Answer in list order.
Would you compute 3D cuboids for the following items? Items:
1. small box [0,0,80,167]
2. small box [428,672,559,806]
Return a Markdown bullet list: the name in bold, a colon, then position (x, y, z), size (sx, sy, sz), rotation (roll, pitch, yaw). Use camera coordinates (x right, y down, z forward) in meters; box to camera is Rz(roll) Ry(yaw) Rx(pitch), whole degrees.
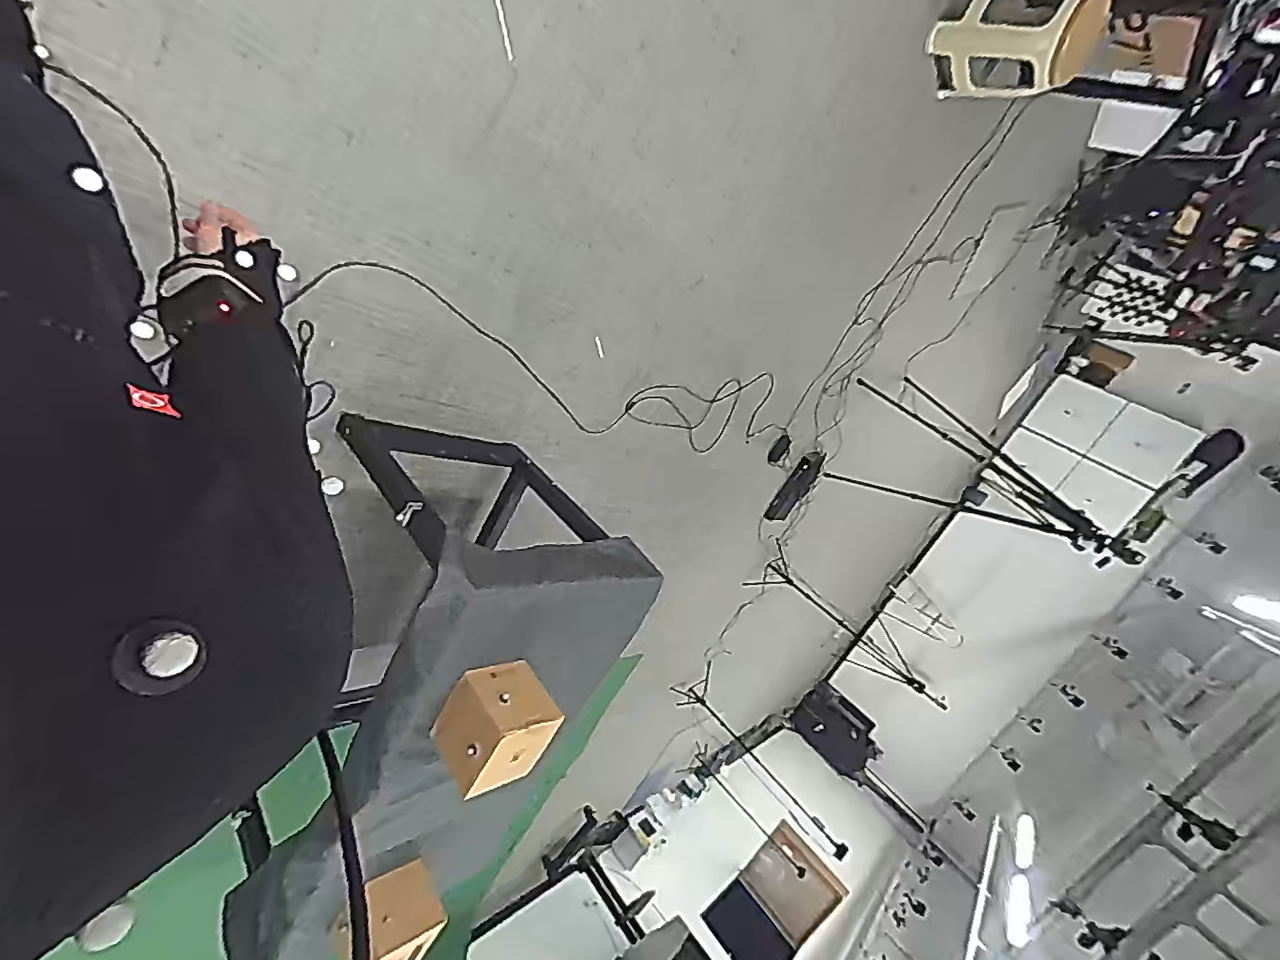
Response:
- **small box**: position (-0.886, -0.524, 0.685), size (0.176, 0.168, 0.179), rotation (-20, 157, -4)
- **small box**: position (-0.308, 0.518, 1.118), size (0.168, 0.176, 0.179), rotation (13, 113, -54)
